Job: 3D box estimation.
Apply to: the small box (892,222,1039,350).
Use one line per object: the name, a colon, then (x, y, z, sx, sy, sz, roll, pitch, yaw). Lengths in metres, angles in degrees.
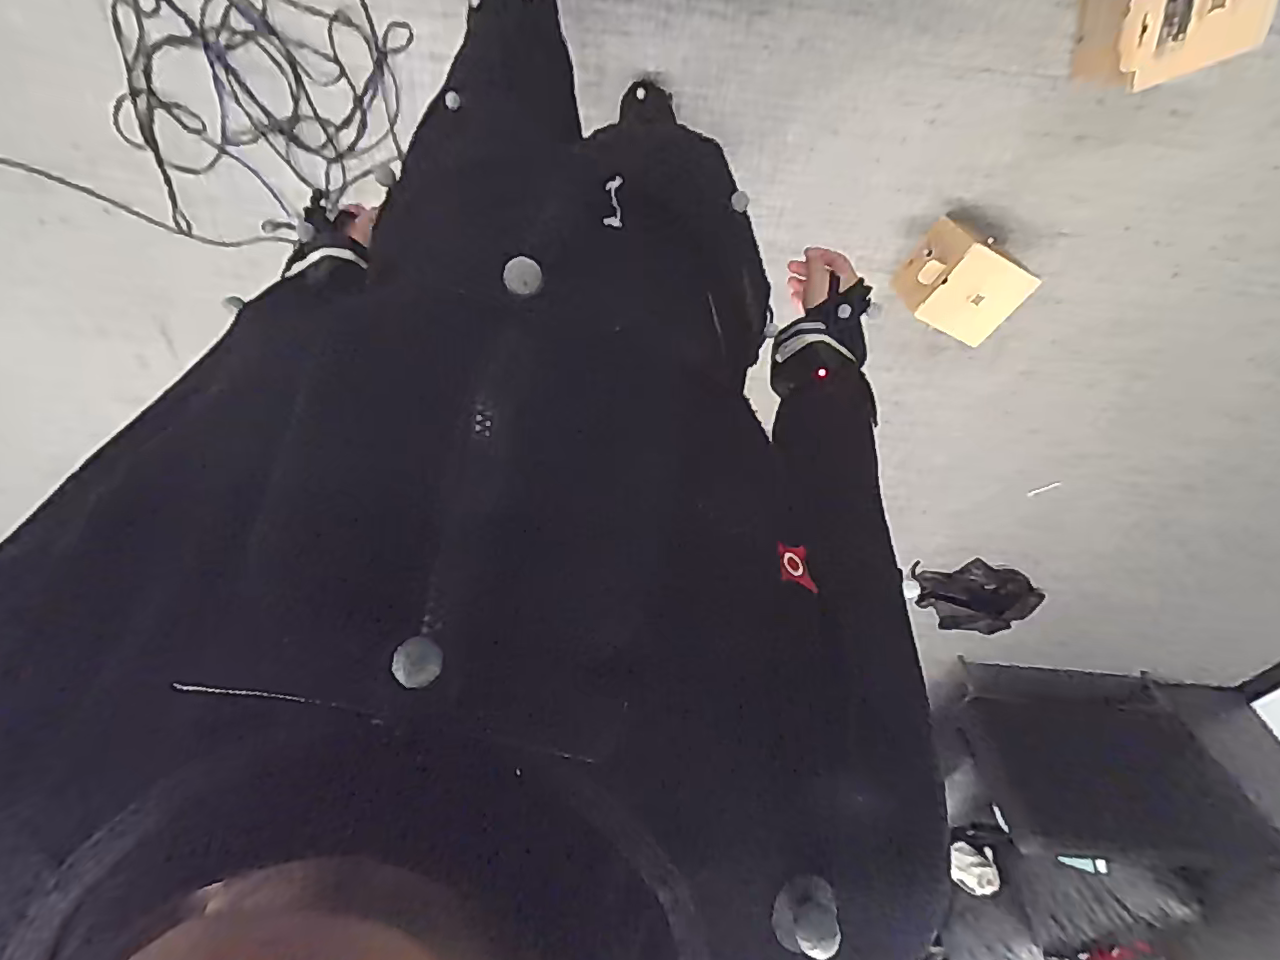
small box: (0.670, -0.411, 1.135, 0.179, 0.176, 0.168, 20, 131, -15)
